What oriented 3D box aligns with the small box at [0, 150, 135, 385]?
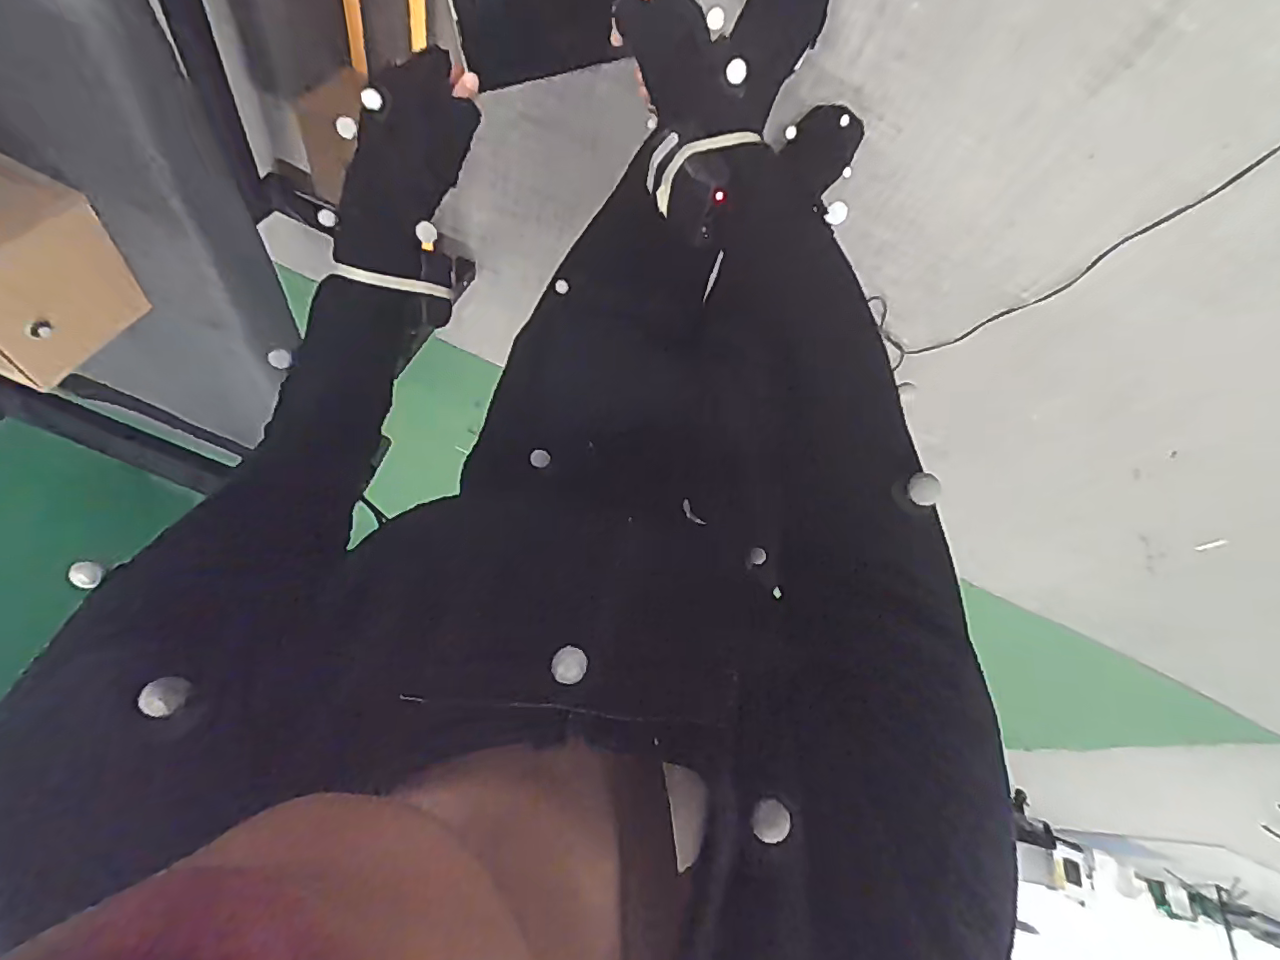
[{"bbox_3d":[-0.721,-0.244,0.589,0.168,0.176,0.179,25,147,-9],"label":"small box"}]
